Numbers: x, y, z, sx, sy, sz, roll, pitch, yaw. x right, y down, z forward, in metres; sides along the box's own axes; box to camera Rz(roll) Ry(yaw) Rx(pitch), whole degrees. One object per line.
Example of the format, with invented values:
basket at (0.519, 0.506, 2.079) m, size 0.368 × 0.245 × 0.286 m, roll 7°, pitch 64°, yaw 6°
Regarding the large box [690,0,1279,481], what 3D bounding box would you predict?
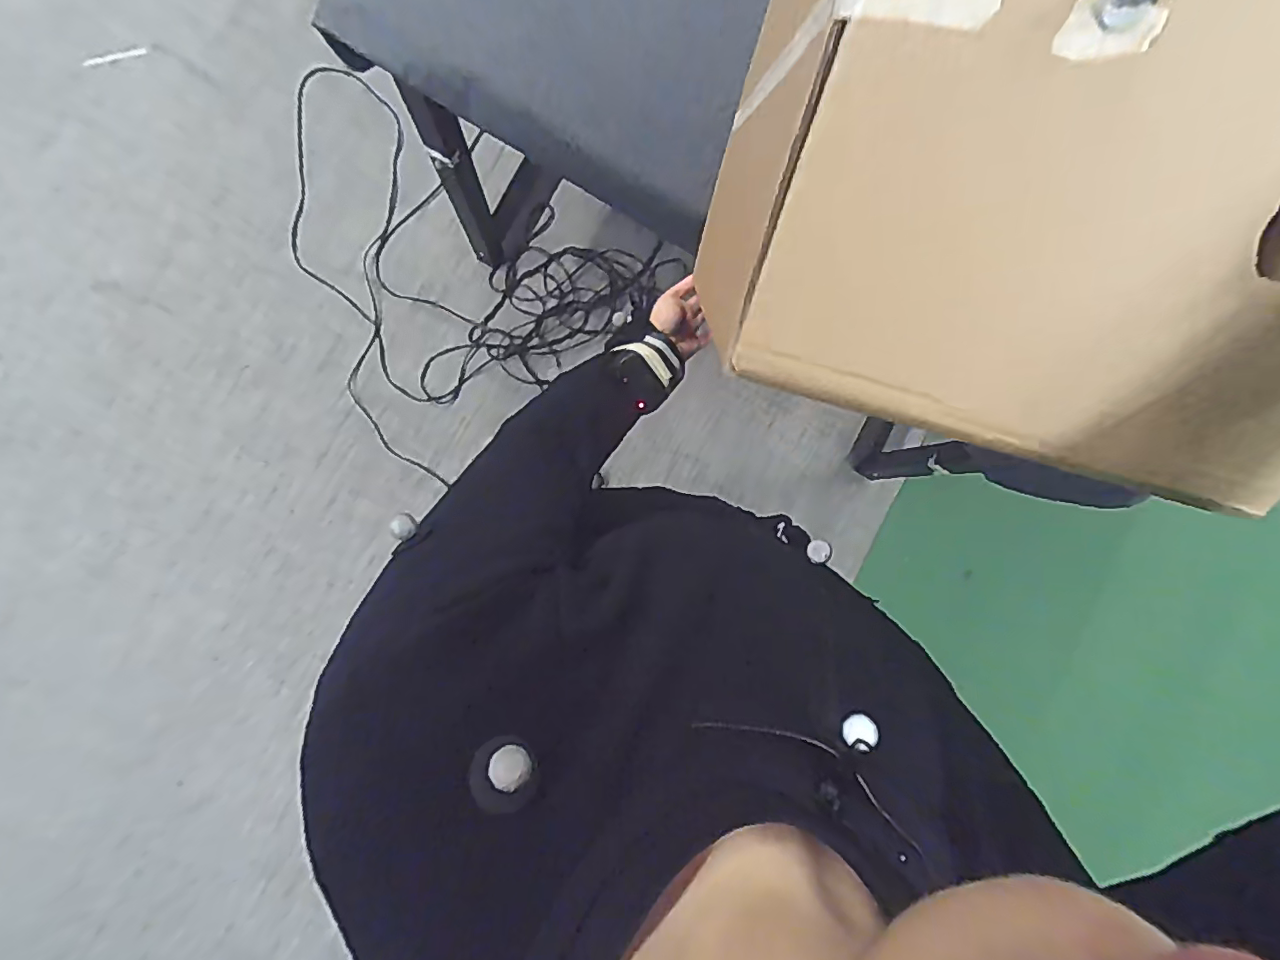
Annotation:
large box at (0.231, -0.251, 0.392) m, size 0.320 × 0.408 × 0.320 m, roll 13°, pitch 118°, yaw -6°
